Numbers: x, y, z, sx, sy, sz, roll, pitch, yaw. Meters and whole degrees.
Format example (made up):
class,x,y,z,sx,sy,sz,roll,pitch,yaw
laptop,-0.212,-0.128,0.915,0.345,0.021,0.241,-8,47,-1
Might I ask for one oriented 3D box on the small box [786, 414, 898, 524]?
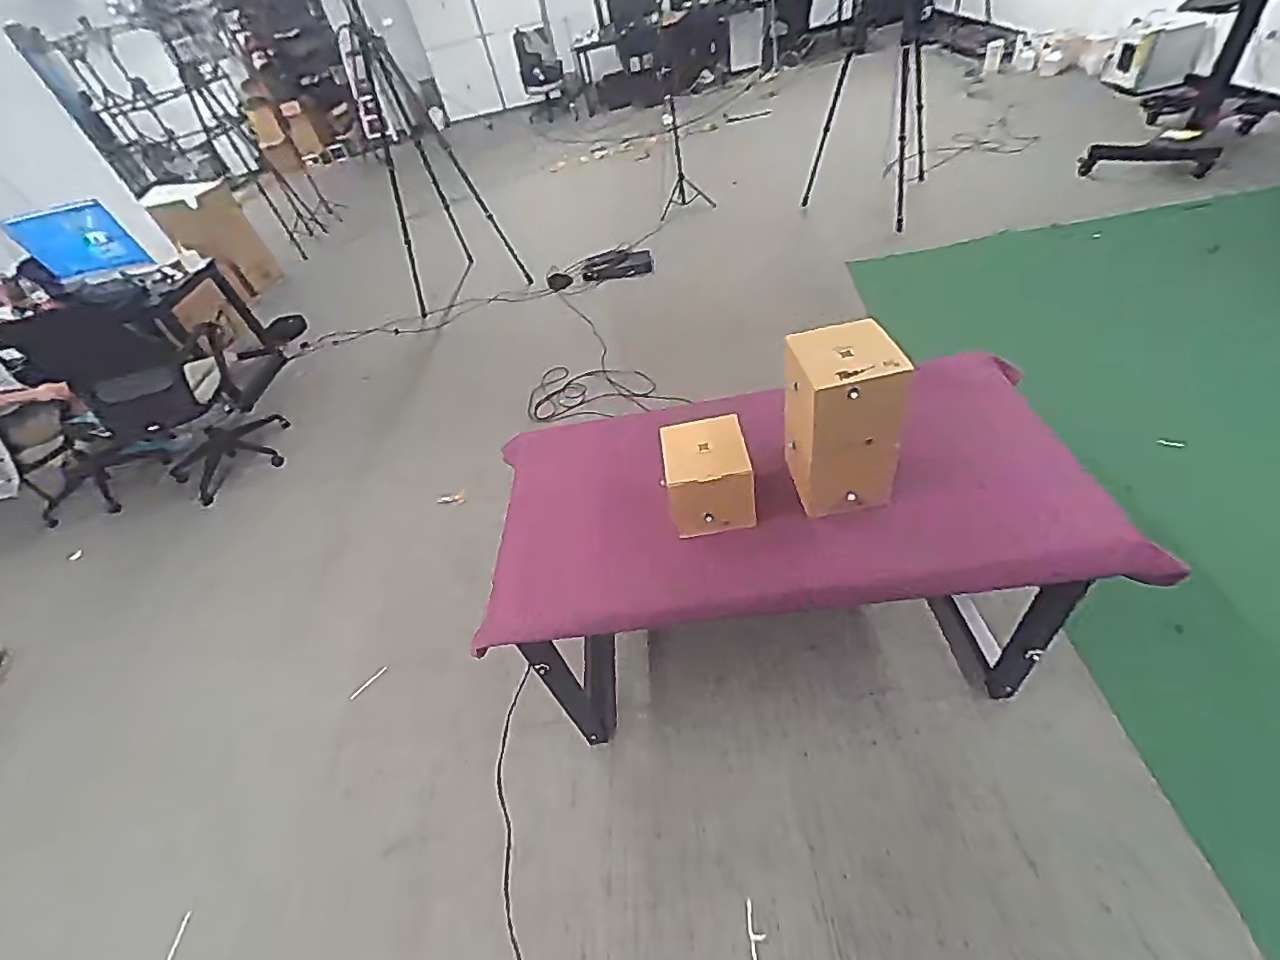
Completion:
class,x,y,z,sx,sy,sz,roll,pitch,yaw
small box,0.400,-0.037,1.108,0.168,0.176,0.179,-11,44,4

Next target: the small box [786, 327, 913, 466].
class,x,y,z,sx,sy,sz,roll,pitch,yaw
small box,0.370,-0.152,0.995,0.168,0.176,0.179,-12,43,4

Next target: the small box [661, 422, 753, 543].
class,x,y,z,sx,sy,sz,roll,pitch,yaw
small box,0.140,0.007,1.136,0.168,0.176,0.179,-10,45,5
